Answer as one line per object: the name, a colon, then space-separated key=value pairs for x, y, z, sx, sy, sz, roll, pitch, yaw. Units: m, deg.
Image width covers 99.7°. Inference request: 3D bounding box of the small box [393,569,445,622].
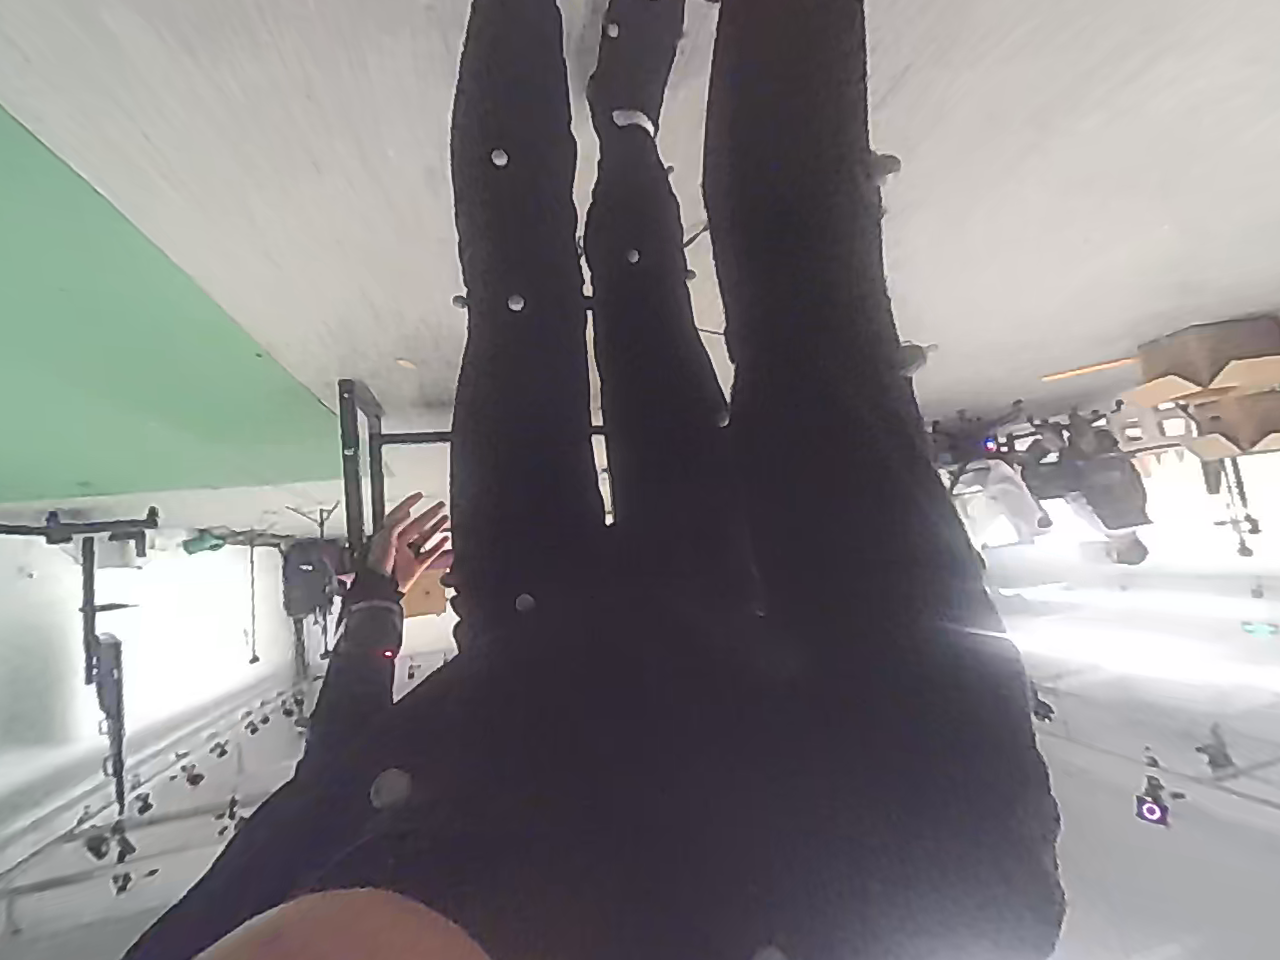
small box: x=-0.840 y=0.431 z=2.046 sx=0.168 sy=0.176 sz=0.179 roll=-4 pitch=174 yaw=-24
